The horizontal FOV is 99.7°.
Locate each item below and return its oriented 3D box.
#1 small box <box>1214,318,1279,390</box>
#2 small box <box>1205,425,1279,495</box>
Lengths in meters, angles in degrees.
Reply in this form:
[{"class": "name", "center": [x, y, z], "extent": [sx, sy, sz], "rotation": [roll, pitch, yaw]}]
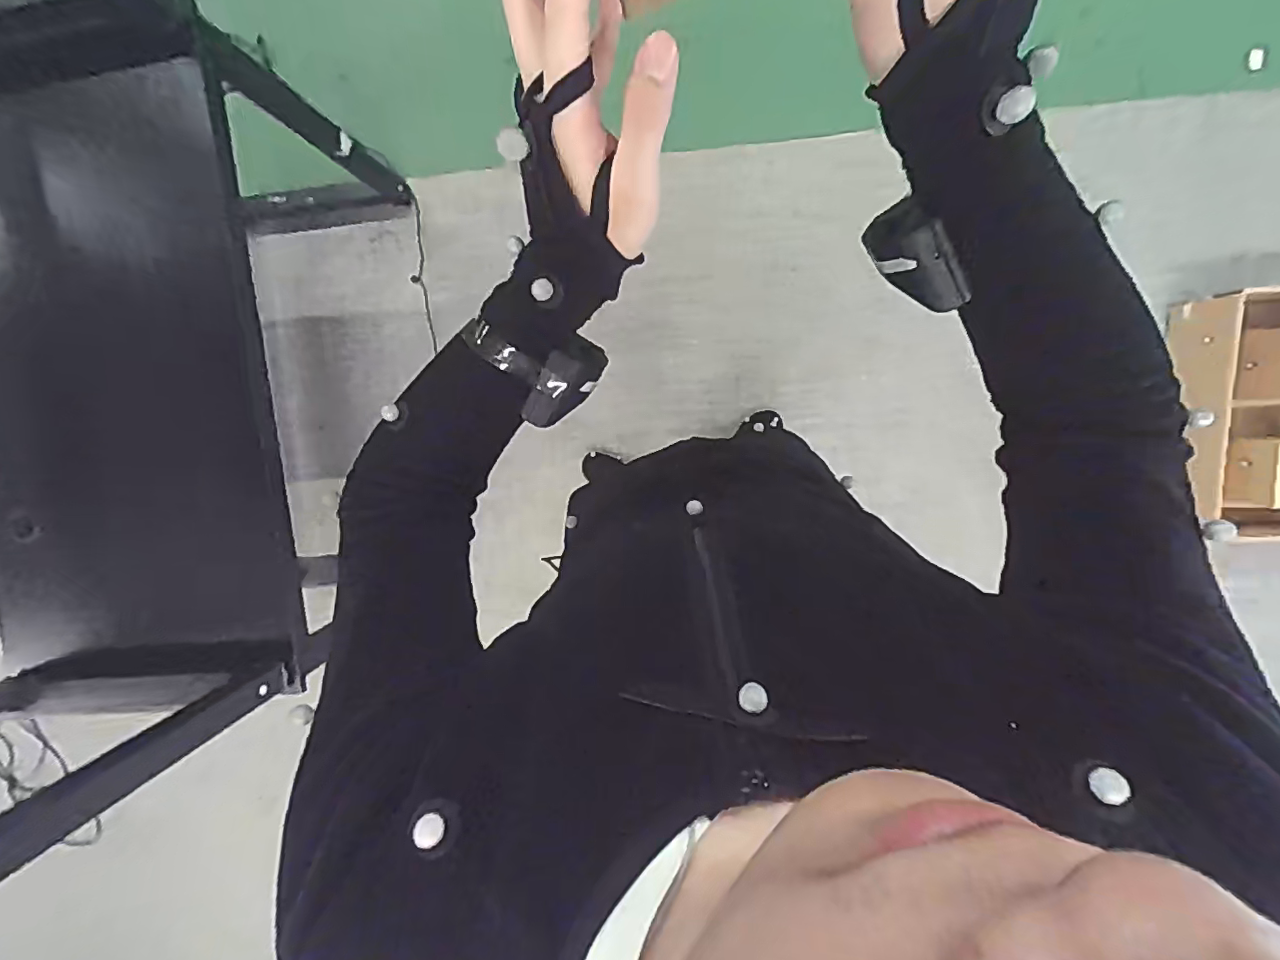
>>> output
[{"class": "small box", "center": [1.607, -0.315, 1.351], "extent": [0.179, 0.176, 0.168], "rotation": [-3, 98, 5]}, {"class": "small box", "center": [1.617, -0.054, 1.385], "extent": [0.179, 0.176, 0.168], "rotation": [-3, 96, 5]}]
